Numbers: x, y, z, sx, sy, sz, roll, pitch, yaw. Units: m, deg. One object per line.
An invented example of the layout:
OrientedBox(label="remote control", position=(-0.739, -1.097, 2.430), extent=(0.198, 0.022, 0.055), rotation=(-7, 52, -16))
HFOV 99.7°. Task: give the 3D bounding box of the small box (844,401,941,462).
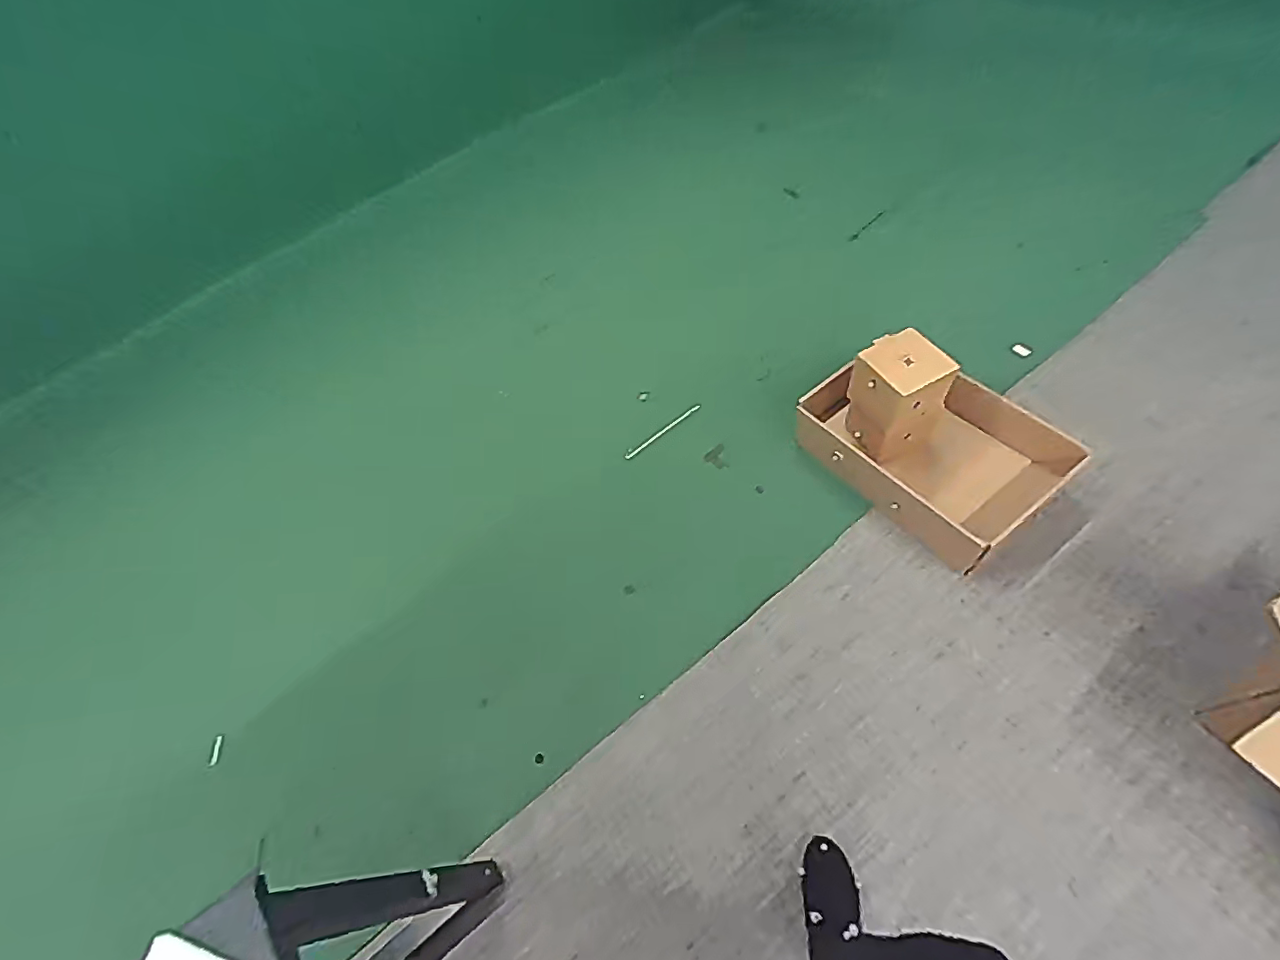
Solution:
OrientedBox(label="small box", position=(0.712, -0.182, 1.548), extent=(0.179, 0.176, 0.168), rotation=(-23, 57, -3))

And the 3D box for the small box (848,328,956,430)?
OrientedBox(label="small box", position=(0.670, -0.253, 1.406), extent=(0.168, 0.176, 0.179), rotation=(-27, 57, -7))
